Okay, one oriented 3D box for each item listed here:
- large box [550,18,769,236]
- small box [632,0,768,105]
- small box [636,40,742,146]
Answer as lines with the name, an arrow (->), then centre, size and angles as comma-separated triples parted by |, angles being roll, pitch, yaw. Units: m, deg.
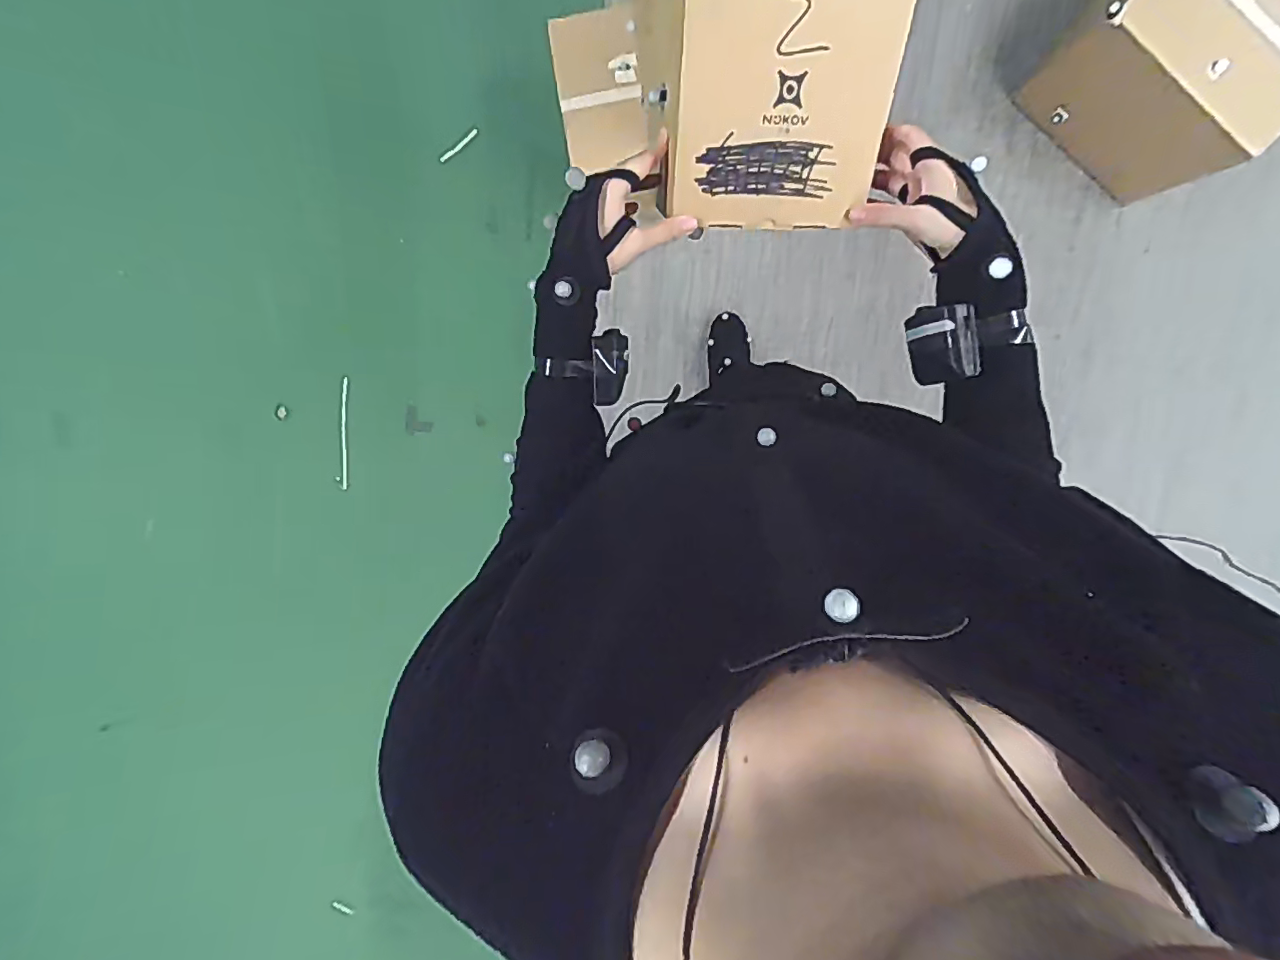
large box -> 0.049, -0.780, 1.217 | 0.408, 0.320, 0.320 | -8, 98, 5
small box -> 0.082, -0.707, 0.815 | 0.179, 0.176, 0.168 | -9, 100, 4
small box -> 0.084, -0.732, 0.977 | 0.168, 0.176, 0.179 | -8, 99, 3
